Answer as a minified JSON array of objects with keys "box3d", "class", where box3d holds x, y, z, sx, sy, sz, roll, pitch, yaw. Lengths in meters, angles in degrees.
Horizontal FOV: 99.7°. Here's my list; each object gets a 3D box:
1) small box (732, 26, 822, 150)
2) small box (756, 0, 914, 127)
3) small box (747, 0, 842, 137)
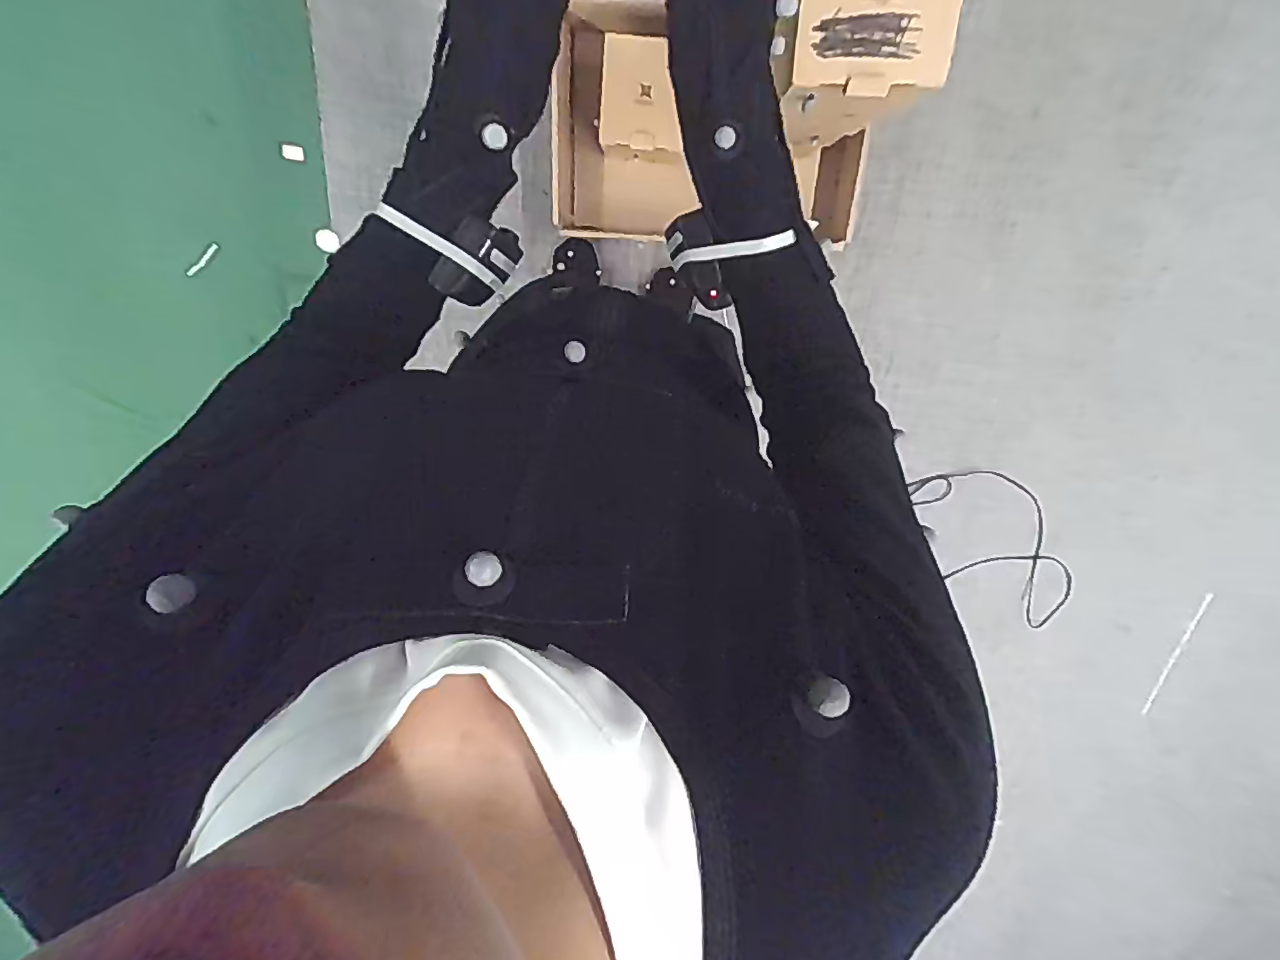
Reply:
[{"box3d":[0.272,-0.755,1.059,0.168,0.176,0.179,1,114,5],"class":"small box"},{"box3d":[0.265,-0.616,0.762,0.168,0.176,0.179,5,114,1],"class":"small box"},{"box3d":[0.275,-0.682,0.893,0.168,0.176,0.179,5,114,2],"class":"small box"}]
